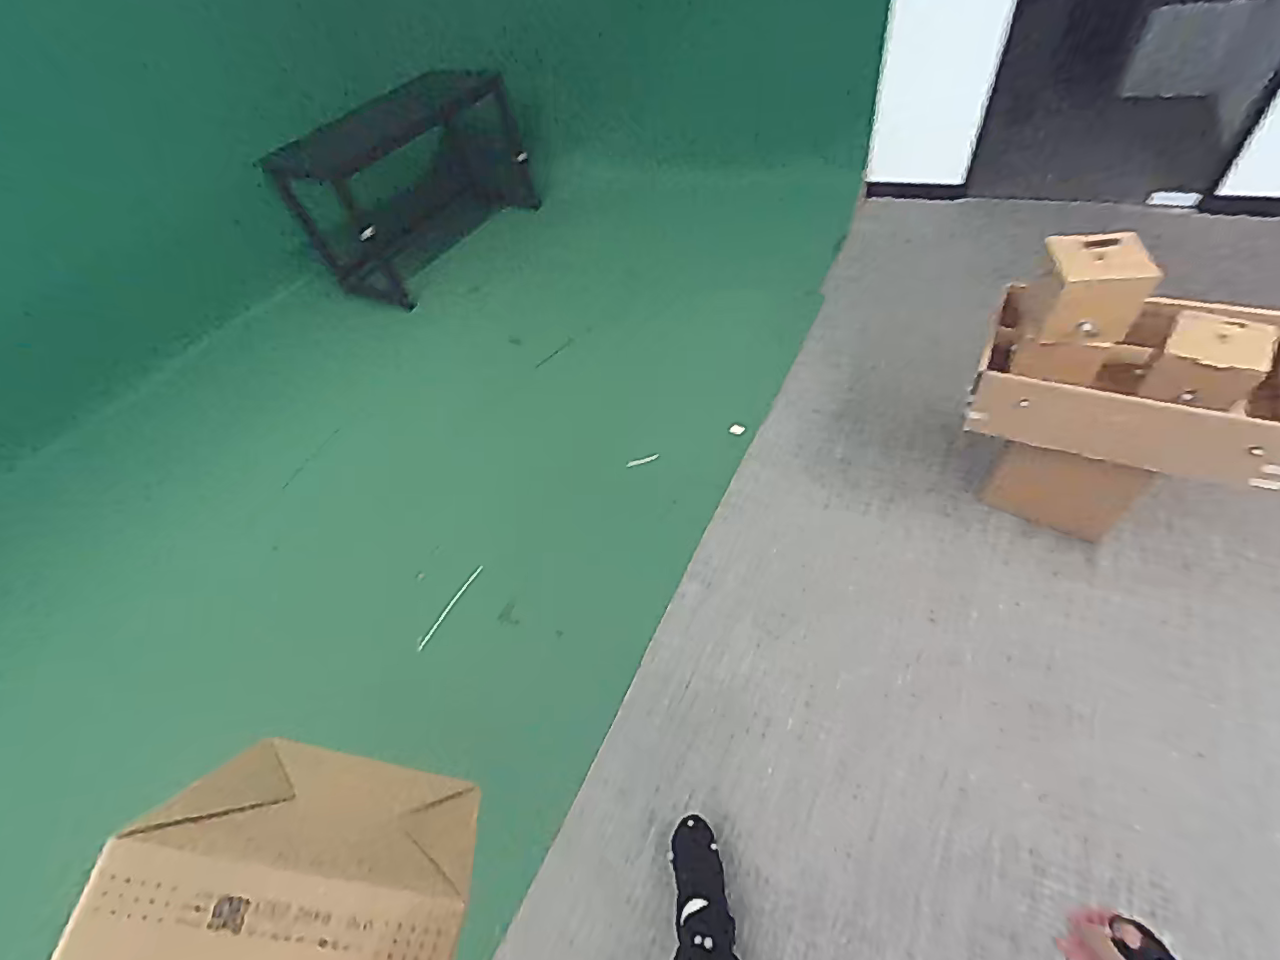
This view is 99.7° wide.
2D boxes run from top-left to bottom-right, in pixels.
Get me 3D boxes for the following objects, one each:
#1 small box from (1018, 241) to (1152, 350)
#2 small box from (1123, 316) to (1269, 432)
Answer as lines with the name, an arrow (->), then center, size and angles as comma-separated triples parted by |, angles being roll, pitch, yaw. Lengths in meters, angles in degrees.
small box -> 0.992, -0.417, 1.228 | 0.168, 0.176, 0.179 | 3, 52, 15
small box -> 1.259, -0.239, 1.237 | 0.168, 0.176, 0.179 | 28, 62, 29
